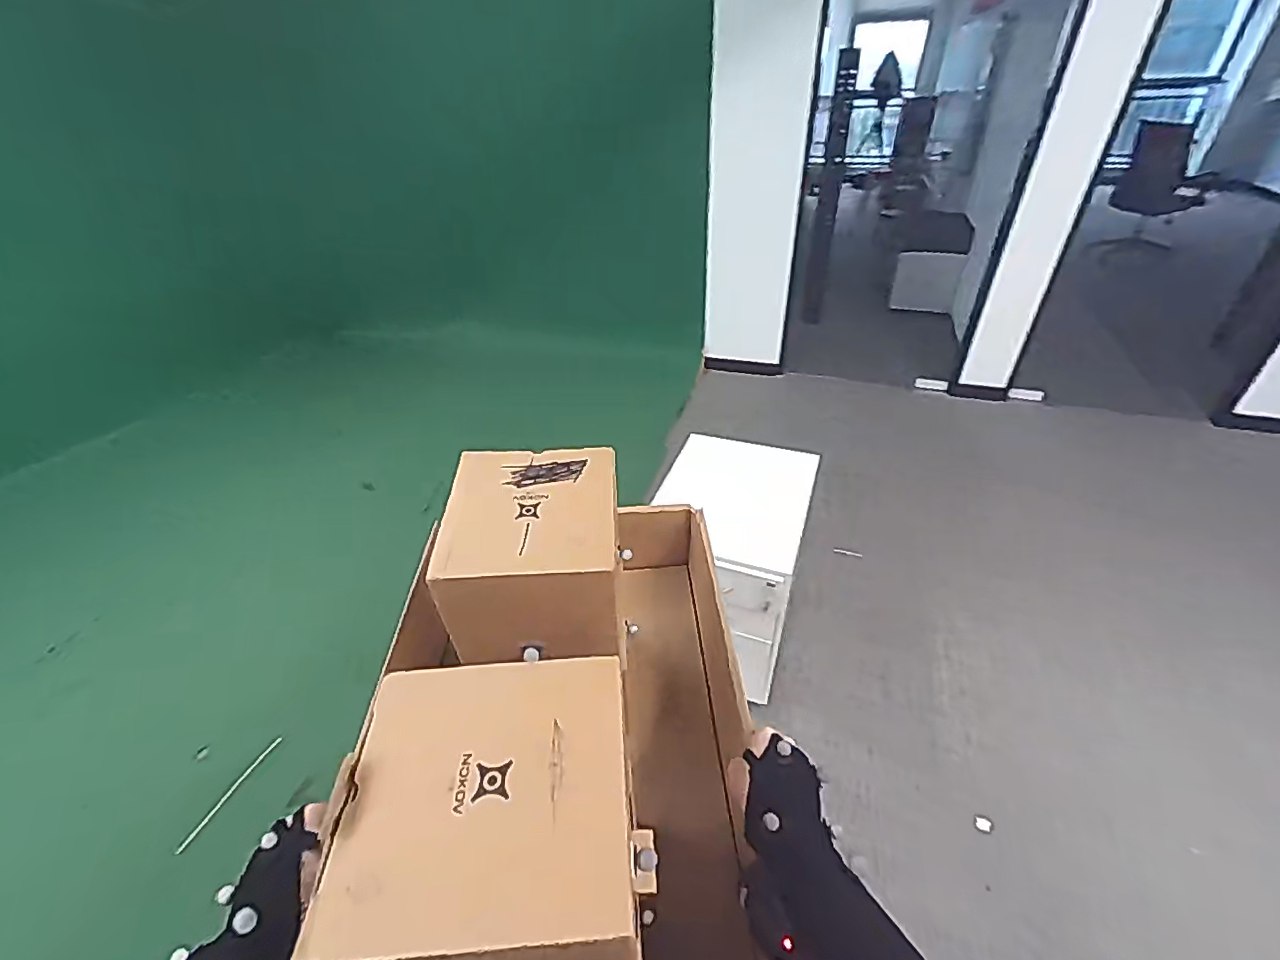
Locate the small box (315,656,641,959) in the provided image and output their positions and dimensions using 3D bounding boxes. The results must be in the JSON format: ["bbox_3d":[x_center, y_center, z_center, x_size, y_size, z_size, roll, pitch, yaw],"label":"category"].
[{"bbox_3d":[-0.091,0.252,0.399,0.179,0.176,0.168,-2,40,-3],"label":"small box"}]

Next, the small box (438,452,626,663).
[{"bbox_3d":[-0.100,0.087,0.590,0.168,0.176,0.179,-1,43,-1],"label":"small box"}]
